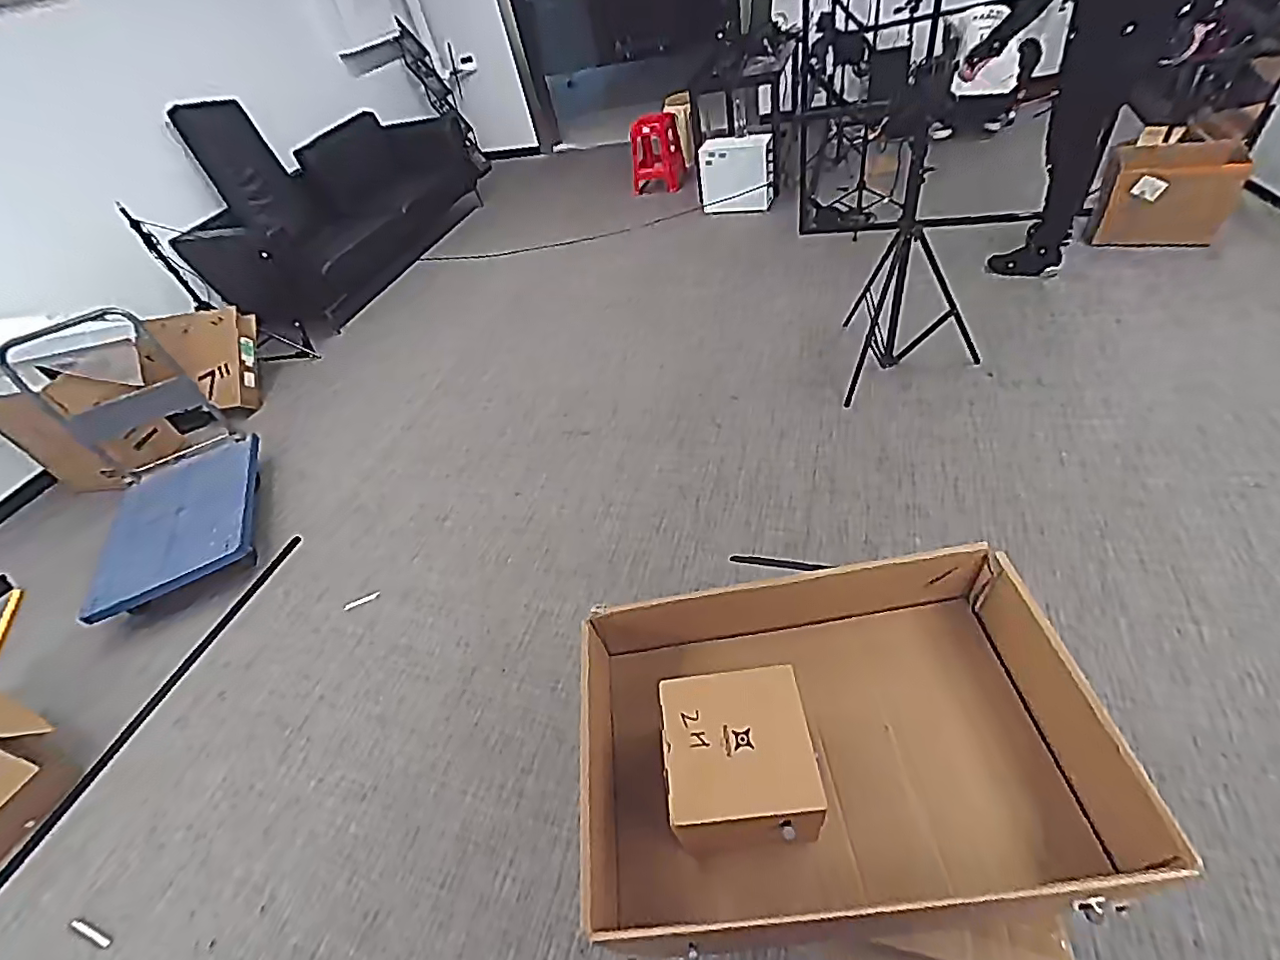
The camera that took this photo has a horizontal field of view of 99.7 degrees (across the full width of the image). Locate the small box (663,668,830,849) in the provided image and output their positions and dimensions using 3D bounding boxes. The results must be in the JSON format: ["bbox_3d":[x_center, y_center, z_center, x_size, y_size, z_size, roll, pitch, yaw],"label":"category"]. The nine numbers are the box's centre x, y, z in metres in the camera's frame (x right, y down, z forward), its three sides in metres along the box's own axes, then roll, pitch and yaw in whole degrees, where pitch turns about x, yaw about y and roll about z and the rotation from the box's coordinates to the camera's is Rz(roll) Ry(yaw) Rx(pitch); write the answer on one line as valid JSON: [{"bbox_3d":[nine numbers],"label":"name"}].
[{"bbox_3d":[0.130,0.365,0.703,0.179,0.176,0.168,-9,46,6],"label":"small box"}]
